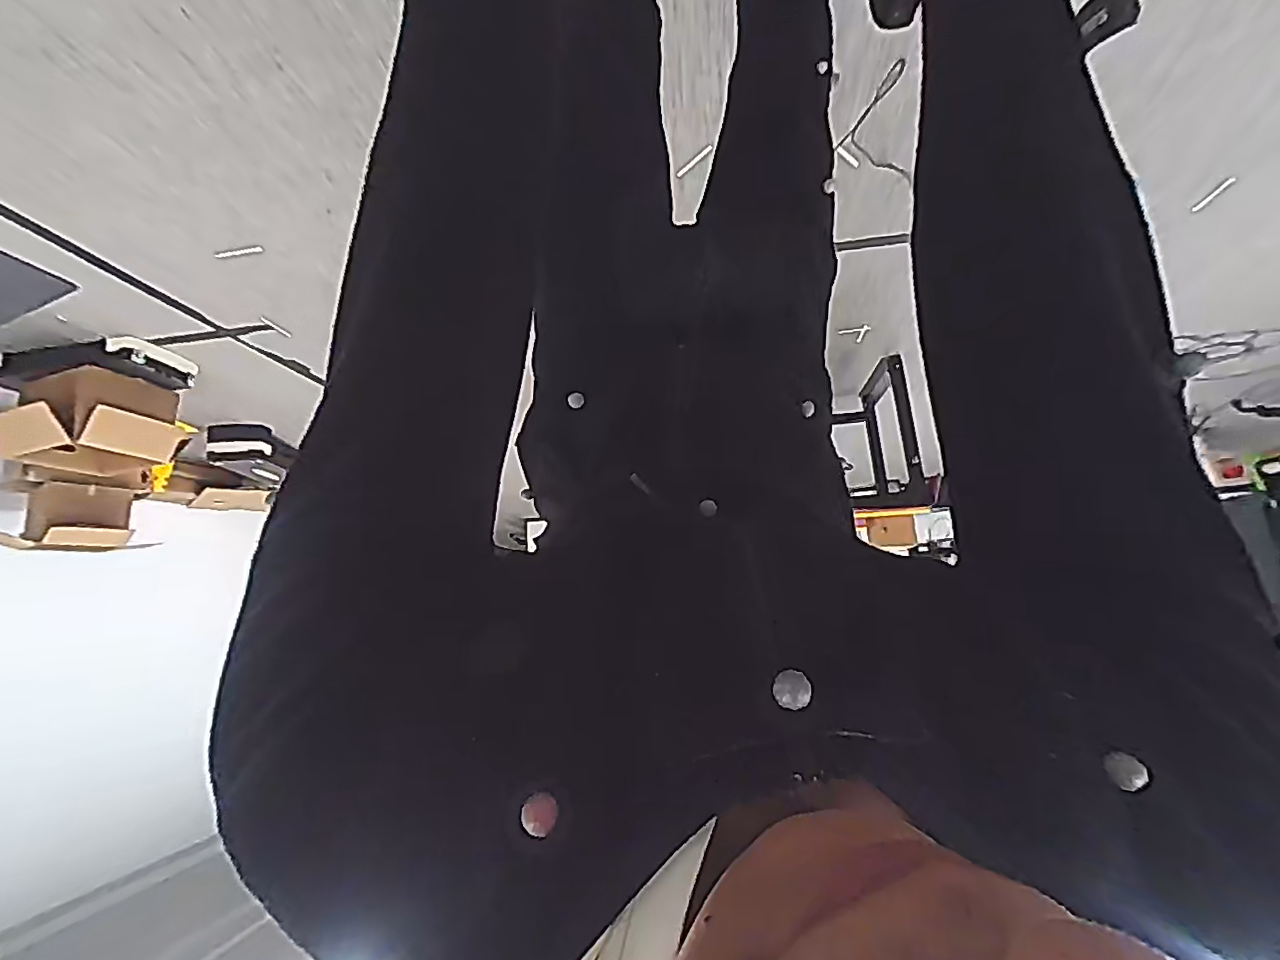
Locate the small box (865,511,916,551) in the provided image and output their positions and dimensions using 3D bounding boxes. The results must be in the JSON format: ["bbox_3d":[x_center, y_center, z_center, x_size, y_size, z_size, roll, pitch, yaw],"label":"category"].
[{"bbox_3d":[1.177,0.242,2.560,0.179,0.176,0.168,-3,167,8],"label":"small box"}]
